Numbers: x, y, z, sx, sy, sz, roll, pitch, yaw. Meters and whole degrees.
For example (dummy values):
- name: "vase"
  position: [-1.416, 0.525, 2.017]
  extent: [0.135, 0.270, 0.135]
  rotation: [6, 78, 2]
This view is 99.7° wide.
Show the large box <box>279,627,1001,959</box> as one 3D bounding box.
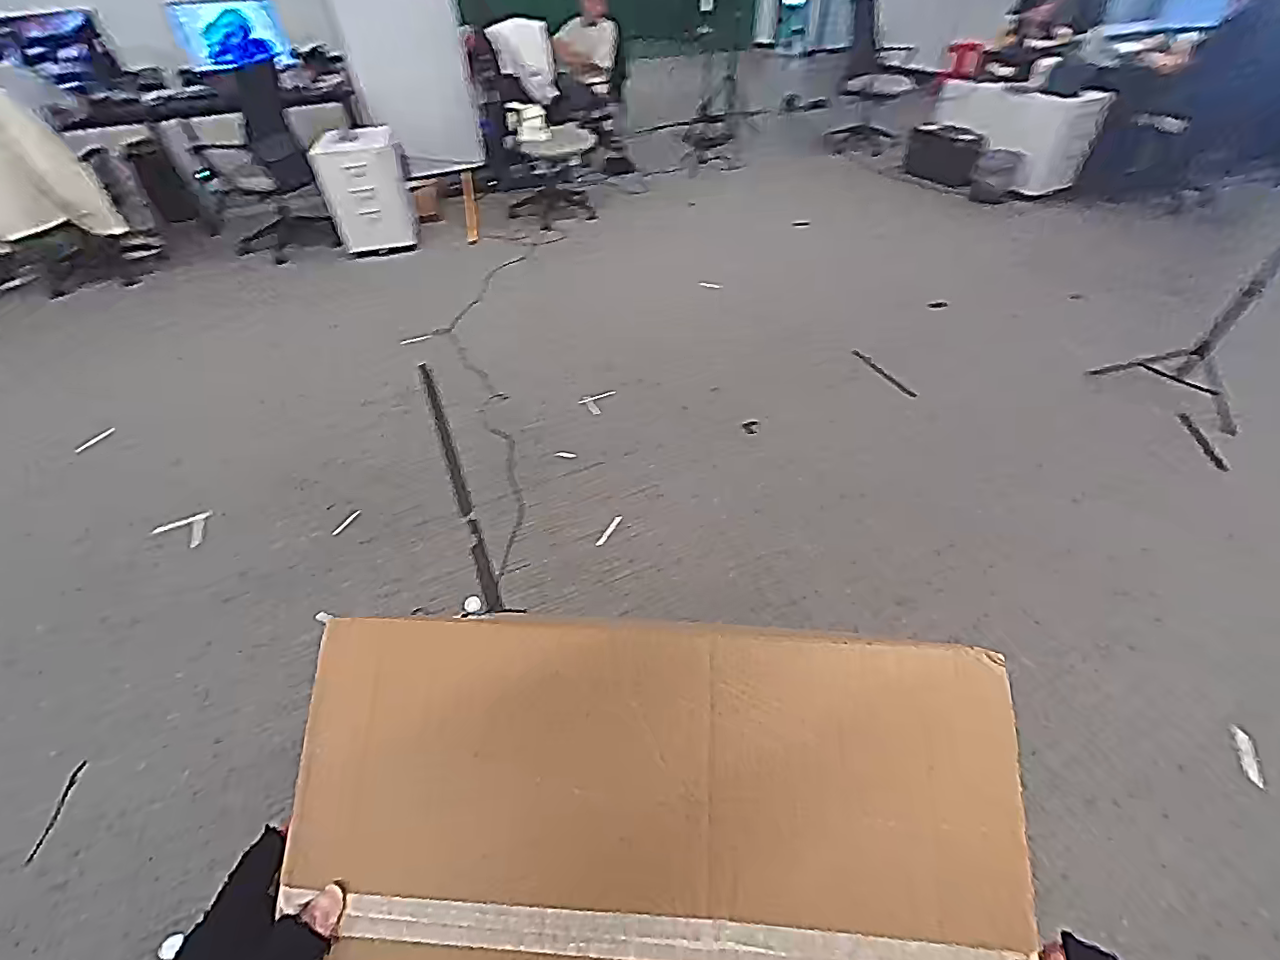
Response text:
- name: "large box"
  position: [0.003, 0.284, 0.444]
  extent: [0.408, 0.320, 0.320]
  rotation: [1, 77, 4]
